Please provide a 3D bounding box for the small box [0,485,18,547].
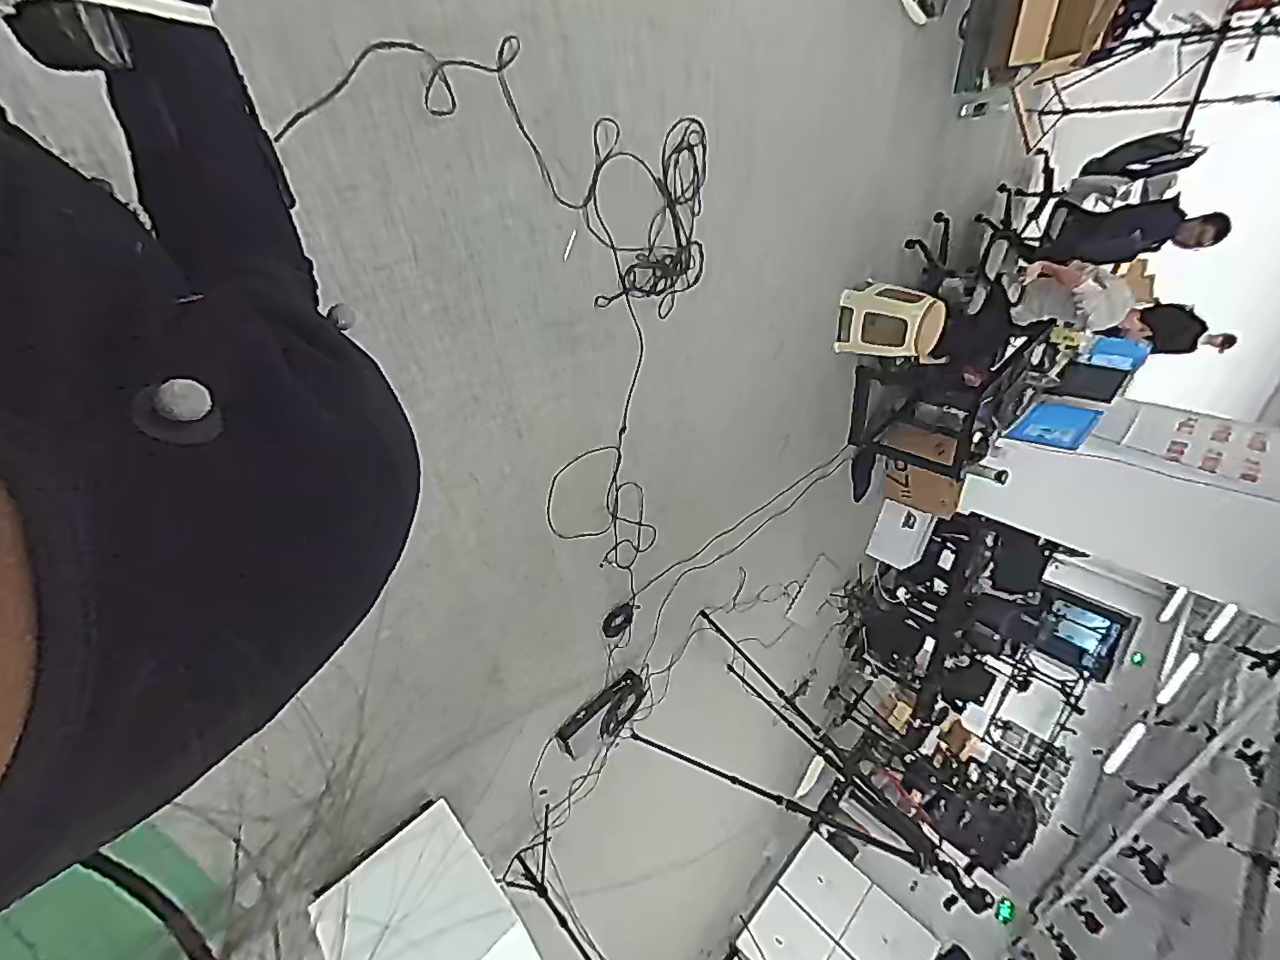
[{"bbox_3d":[-1.225,0.044,0.917,0.168,0.176,0.179,-31,132,-32],"label":"small box"}]
